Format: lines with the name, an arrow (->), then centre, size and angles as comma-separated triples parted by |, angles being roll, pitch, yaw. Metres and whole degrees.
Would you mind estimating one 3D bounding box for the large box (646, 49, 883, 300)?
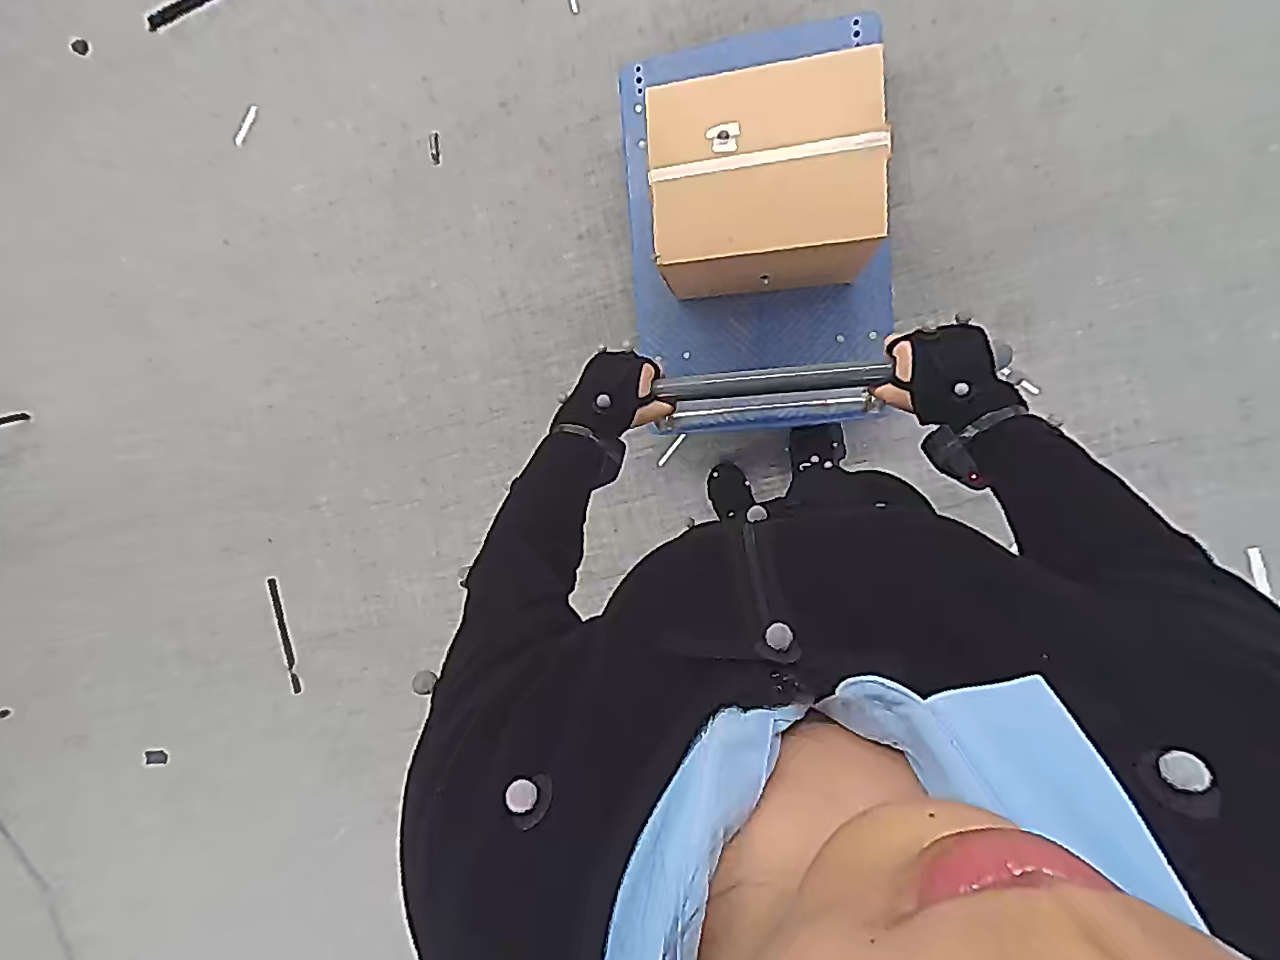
large box -> 0.248, -0.578, 1.108 | 0.408, 0.320, 0.320 | -3, 94, 13
